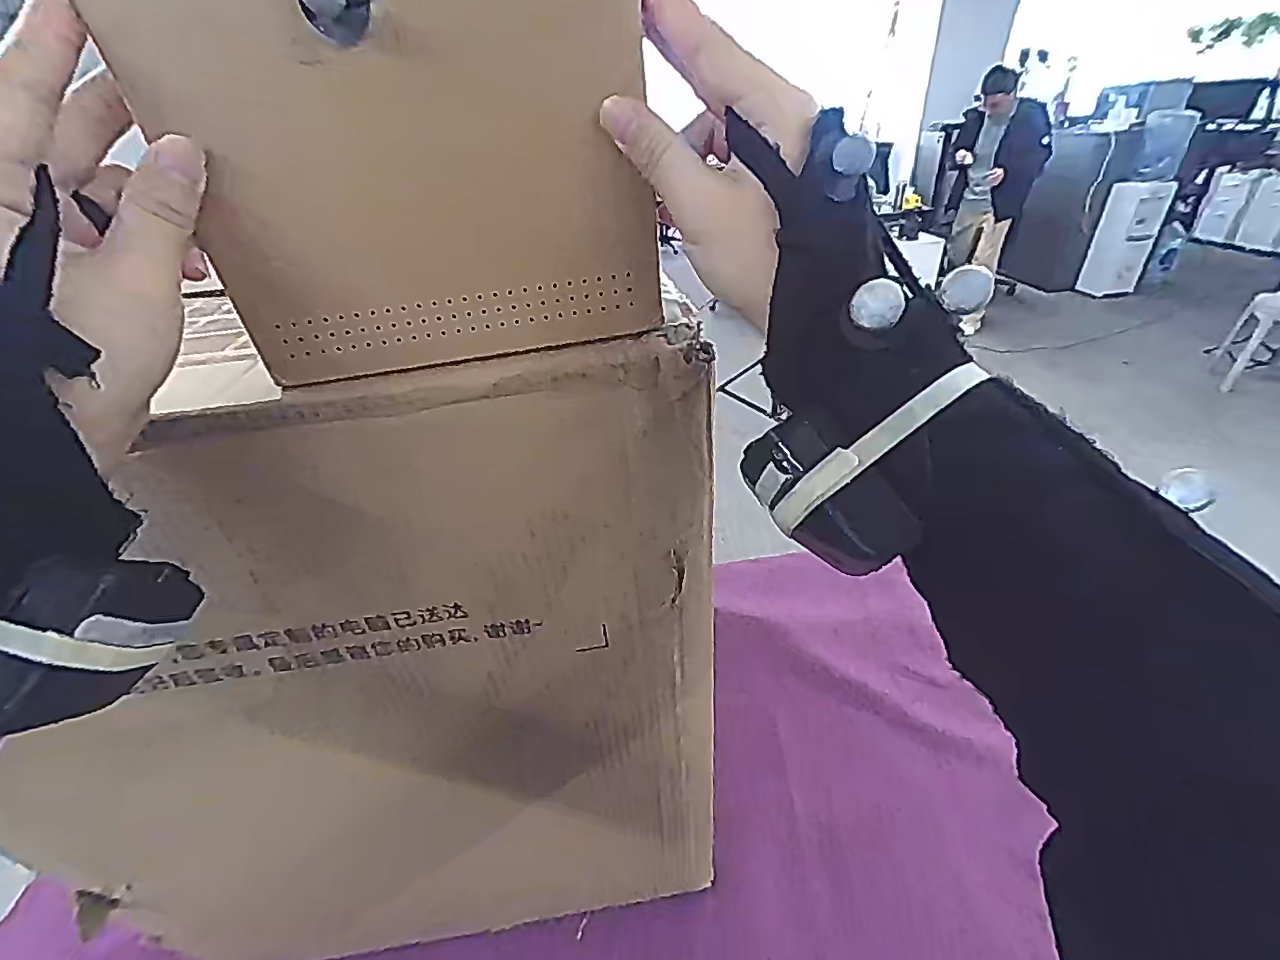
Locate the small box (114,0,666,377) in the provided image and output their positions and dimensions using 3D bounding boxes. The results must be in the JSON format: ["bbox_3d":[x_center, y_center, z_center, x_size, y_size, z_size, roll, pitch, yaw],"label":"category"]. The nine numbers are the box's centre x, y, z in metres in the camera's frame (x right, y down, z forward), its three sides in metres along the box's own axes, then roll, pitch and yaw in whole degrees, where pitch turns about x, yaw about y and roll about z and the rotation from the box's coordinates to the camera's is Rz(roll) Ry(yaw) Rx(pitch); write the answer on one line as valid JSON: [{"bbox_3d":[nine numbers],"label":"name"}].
[{"bbox_3d":[-0.091,-0.161,0.264,0.179,0.176,0.168,-10,35,-5],"label":"small box"}]
